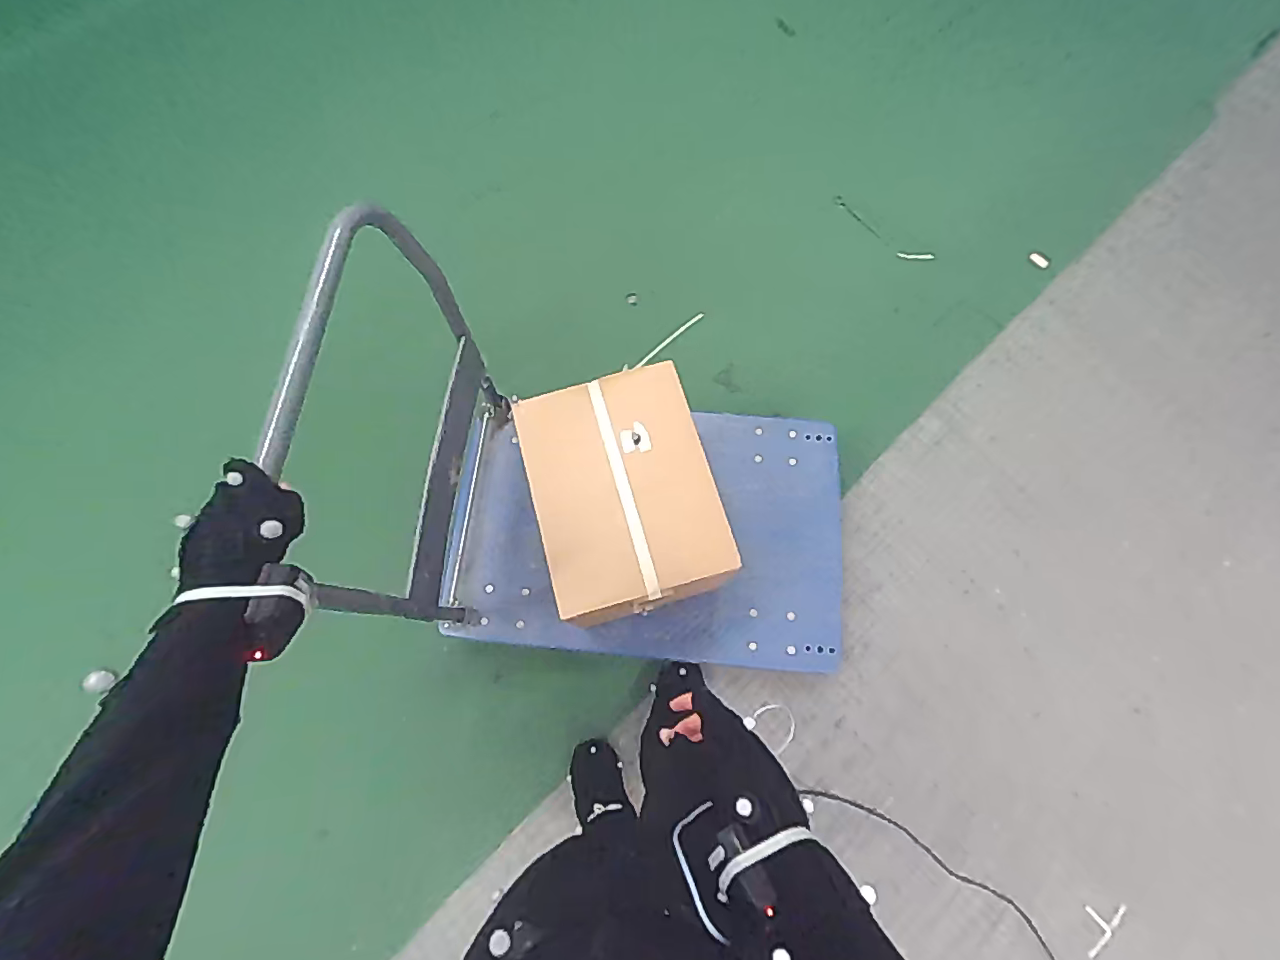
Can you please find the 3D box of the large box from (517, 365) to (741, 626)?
[{"bbox_3d":[-0.021,0.049,1.089,0.320,0.320,0.408,-15,72,-3],"label":"large box"}]
